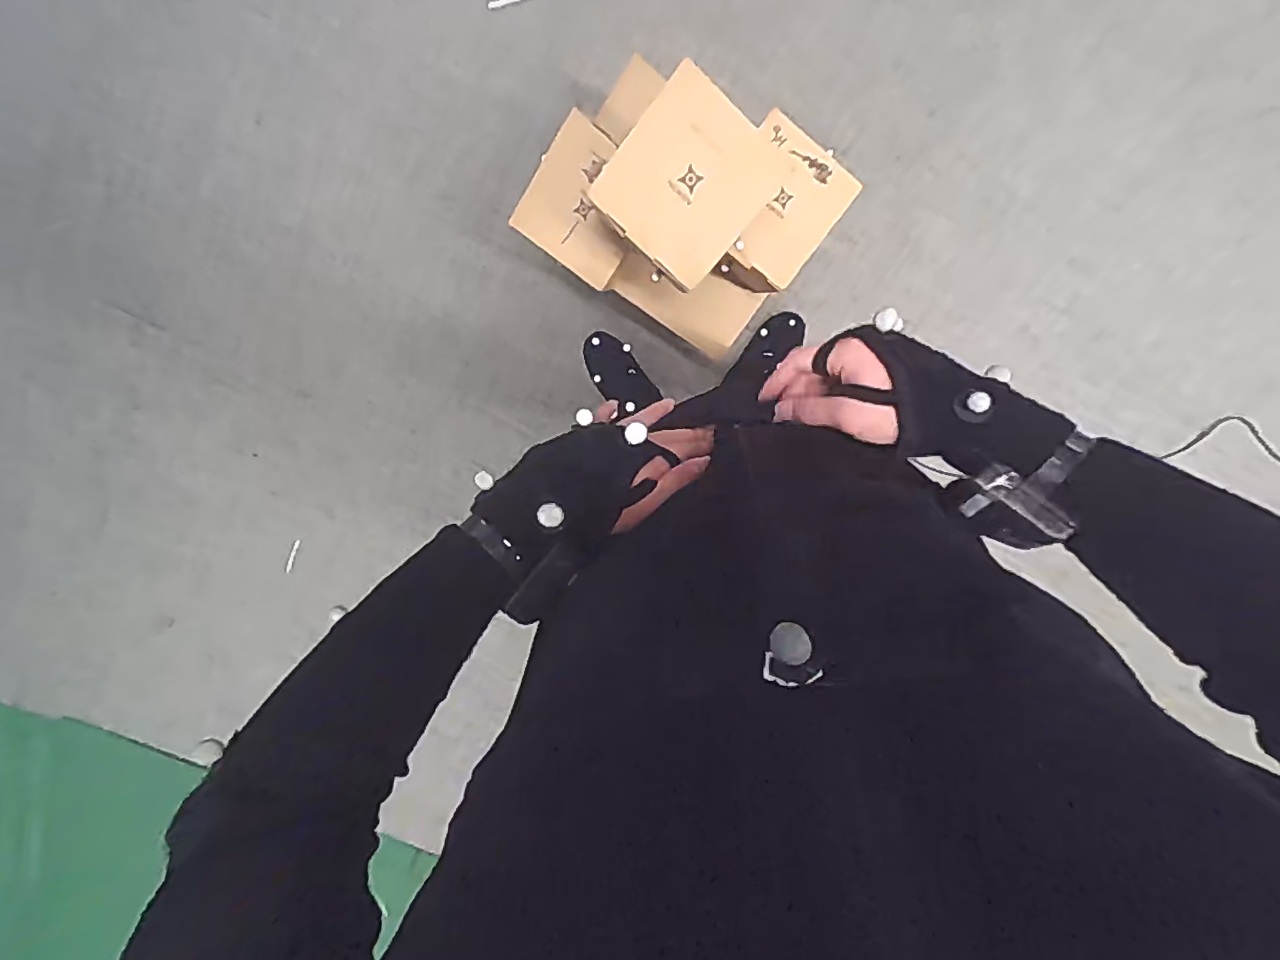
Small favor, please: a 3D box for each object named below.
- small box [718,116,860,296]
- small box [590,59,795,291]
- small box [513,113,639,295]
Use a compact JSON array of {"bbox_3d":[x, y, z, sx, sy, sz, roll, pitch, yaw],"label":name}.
[{"bbox_3d":[0.196,-0.403,0.837,0.168,0.176,0.179,35,104,-9],"label":"small box"},{"bbox_3d":[0.059,-0.358,0.681,0.168,0.176,0.179,39,103,-12],"label":"small box"},{"bbox_3d":[-0.067,-0.411,0.838,0.168,0.176,0.179,36,107,-10],"label":"small box"}]
